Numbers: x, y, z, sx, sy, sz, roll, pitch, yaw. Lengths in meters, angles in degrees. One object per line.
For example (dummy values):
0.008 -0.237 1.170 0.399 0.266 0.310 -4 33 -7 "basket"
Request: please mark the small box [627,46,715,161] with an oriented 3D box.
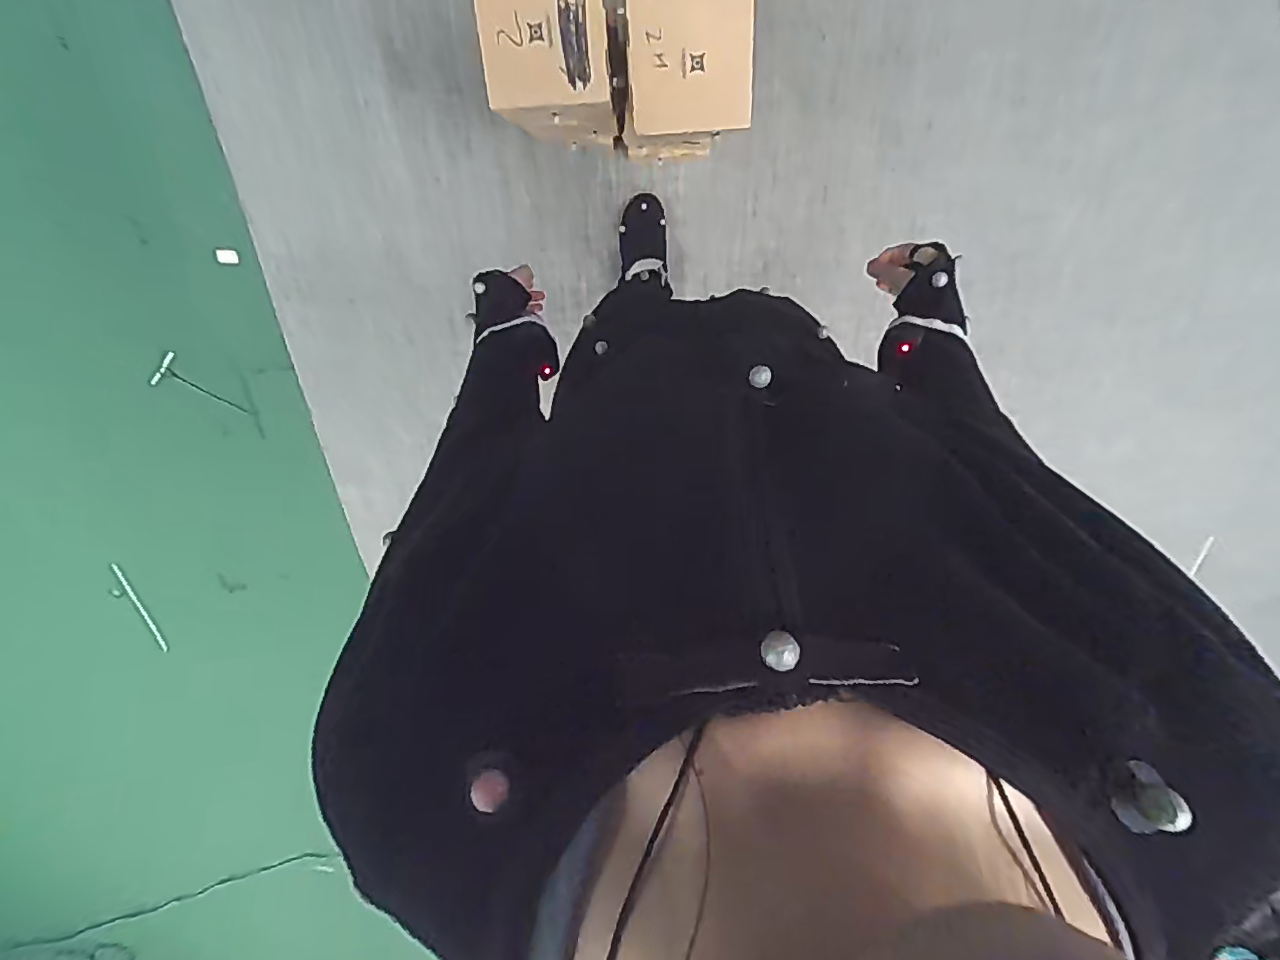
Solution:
0.058 -0.765 1.114 0.168 0.176 0.179 -3 119 0 "small box"
